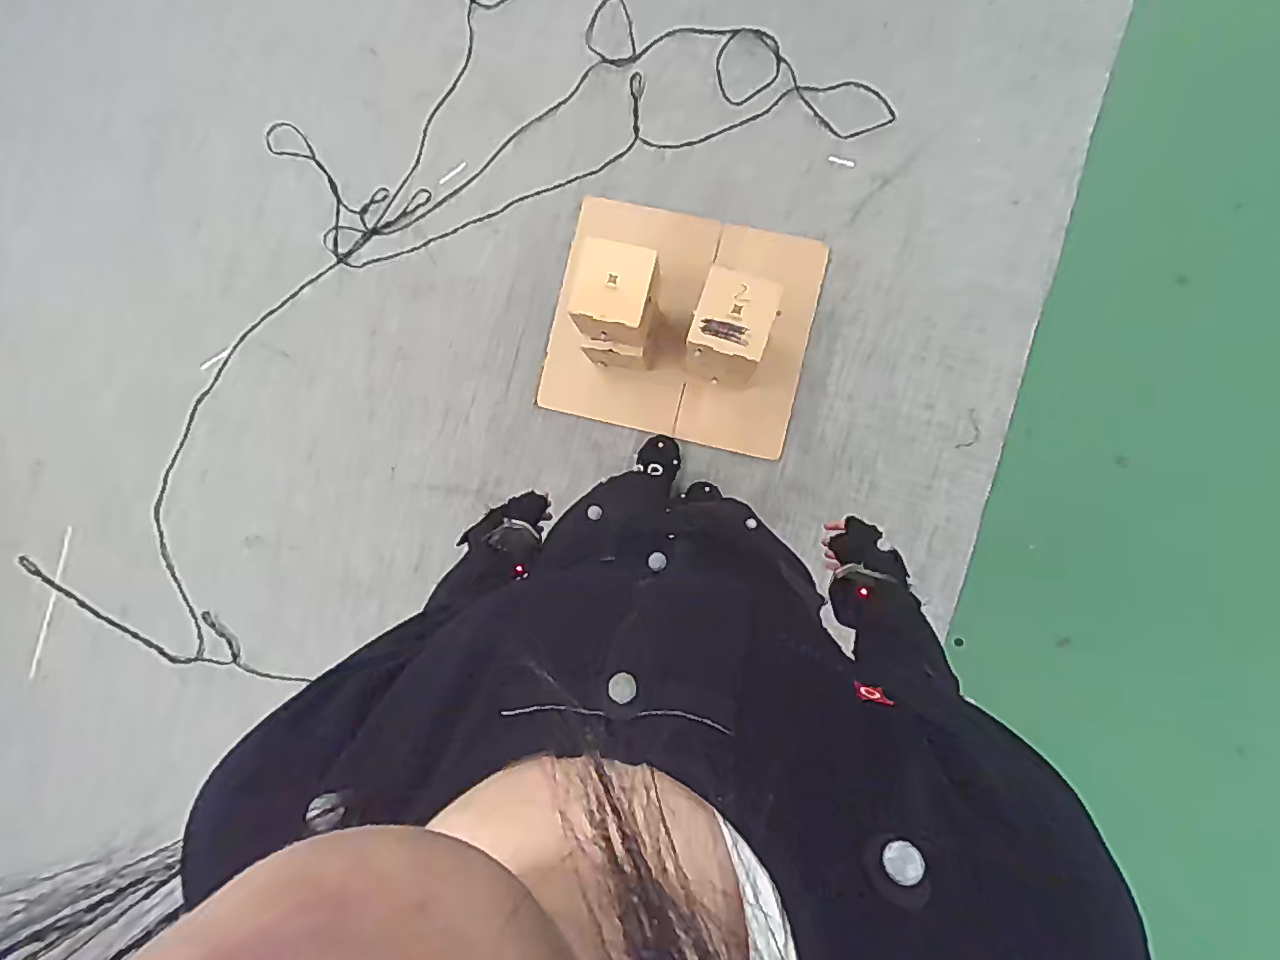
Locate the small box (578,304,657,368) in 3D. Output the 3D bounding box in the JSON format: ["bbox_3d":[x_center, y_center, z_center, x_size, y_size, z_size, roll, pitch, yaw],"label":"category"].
[{"bbox_3d":[-0.052,-0.402,1.415,0.168,0.176,0.179,11,90,5],"label":"small box"}]

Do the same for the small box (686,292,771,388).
[{"bbox_3d":[0.221,-0.353,1.394,0.168,0.176,0.179,18,91,6],"label":"small box"}]

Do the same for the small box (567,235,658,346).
[{"bbox_3d":[-0.056,-0.431,1.253,0.168,0.176,0.179,14,90,5],"label":"small box"}]
